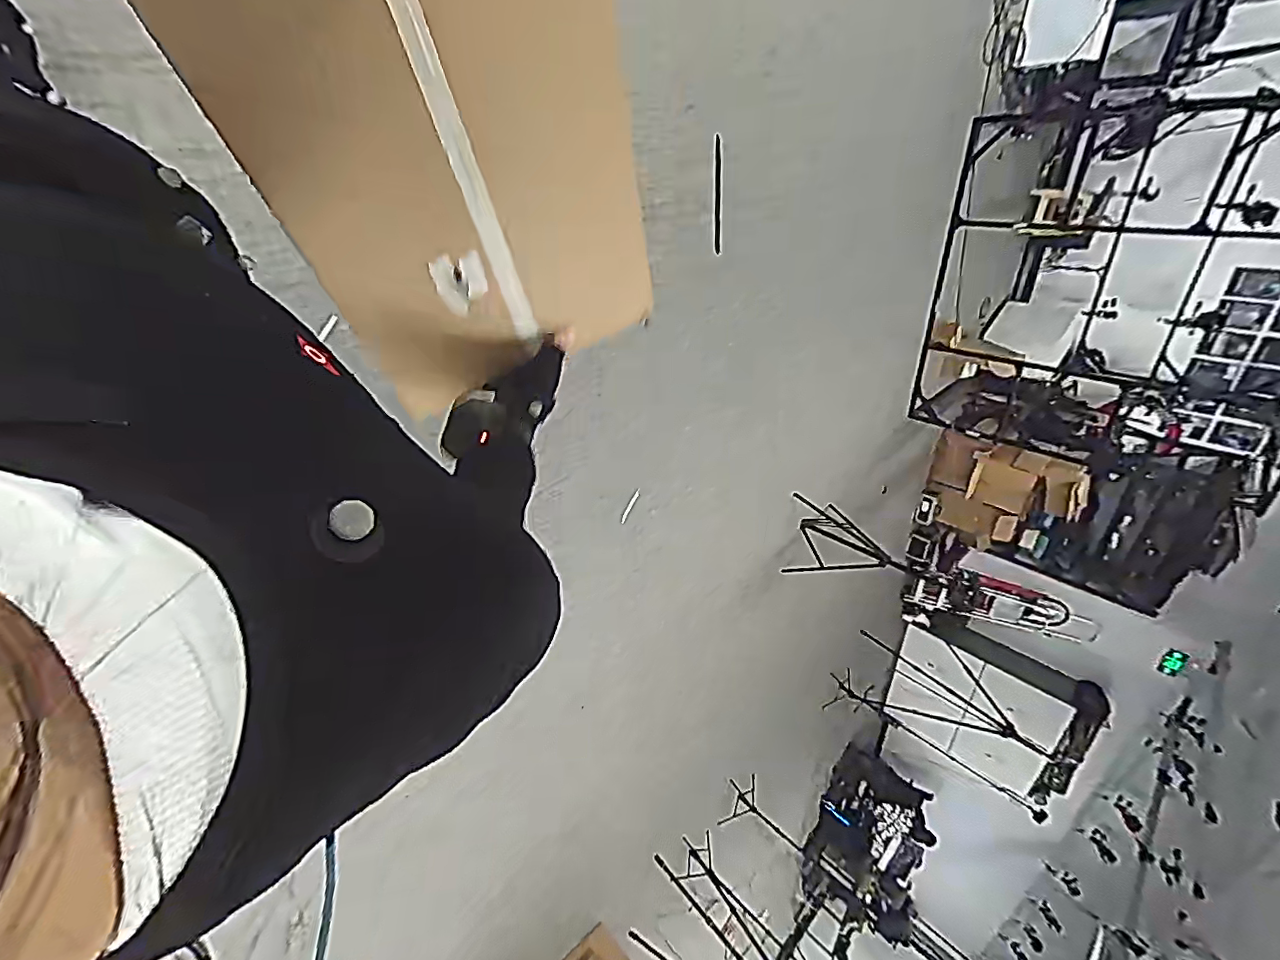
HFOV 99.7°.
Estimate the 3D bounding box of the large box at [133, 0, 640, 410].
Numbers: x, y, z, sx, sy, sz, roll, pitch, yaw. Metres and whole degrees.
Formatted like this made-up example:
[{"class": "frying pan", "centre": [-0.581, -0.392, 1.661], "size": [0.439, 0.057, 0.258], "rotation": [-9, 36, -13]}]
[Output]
[{"class": "large box", "centre": [-0.226, -0.363, 0.583], "size": [0.320, 0.320, 0.408], "rotation": [-25, 144, -11]}]
